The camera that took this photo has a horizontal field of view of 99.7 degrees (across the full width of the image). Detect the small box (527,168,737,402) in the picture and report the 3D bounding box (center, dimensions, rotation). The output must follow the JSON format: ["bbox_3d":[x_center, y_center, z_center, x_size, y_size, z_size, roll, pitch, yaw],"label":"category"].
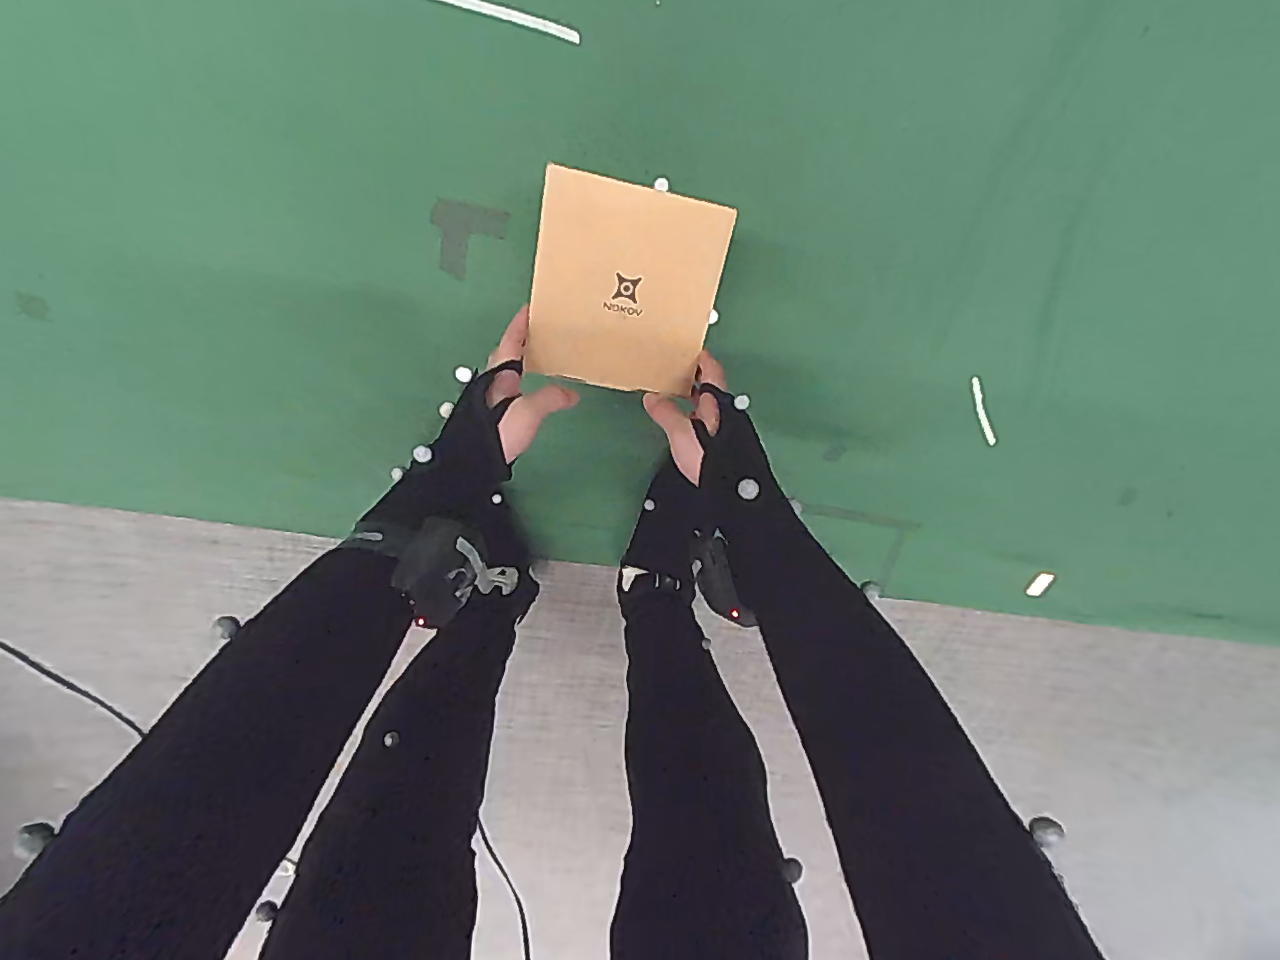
[{"bbox_3d":[-0.020,-0.199,0.557,0.168,0.176,0.179,8,115,-10],"label":"small box"}]
